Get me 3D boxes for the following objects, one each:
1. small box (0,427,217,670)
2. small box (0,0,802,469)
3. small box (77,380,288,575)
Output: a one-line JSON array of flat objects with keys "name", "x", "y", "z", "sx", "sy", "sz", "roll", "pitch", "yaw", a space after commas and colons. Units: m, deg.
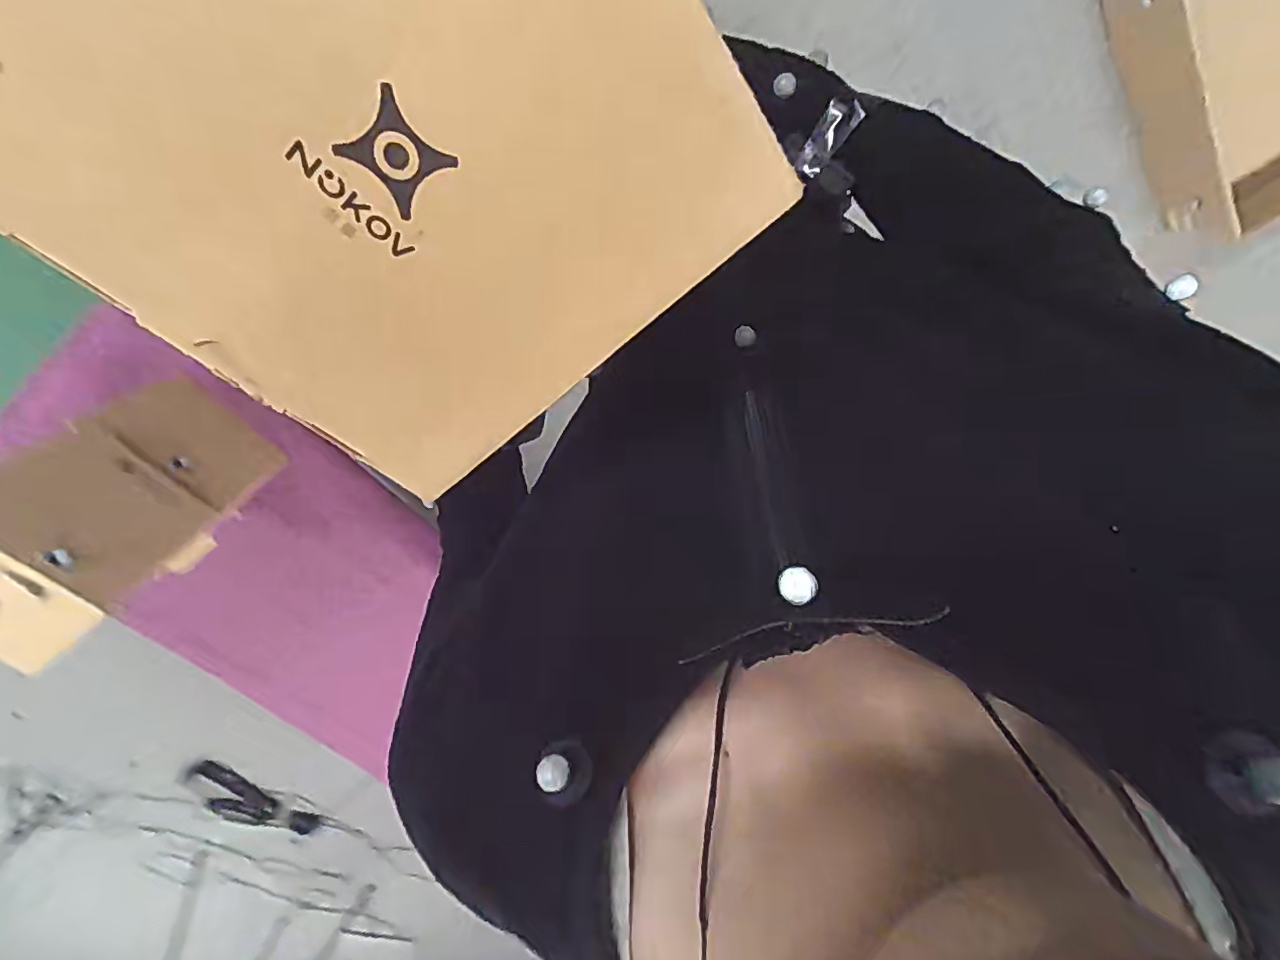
[{"name": "small box", "x": -0.637, "y": 0.074, "z": 0.607, "sx": 0.179, "sy": 0.176, "sz": 0.168, "roll": -31, "pitch": 116, "yaw": 21}, {"name": "small box", "x": -0.074, "y": -0.145, "z": 0.208, "sx": 0.179, "sy": 0.176, "sz": 0.168, "roll": -34, "pitch": 126, "yaw": 18}, {"name": "small box", "x": -0.644, "y": -0.008, "z": 0.751, "sx": 0.168, "sy": 0.176, "sz": 0.179, "roll": -33, "pitch": 115, "yaw": 21}]
